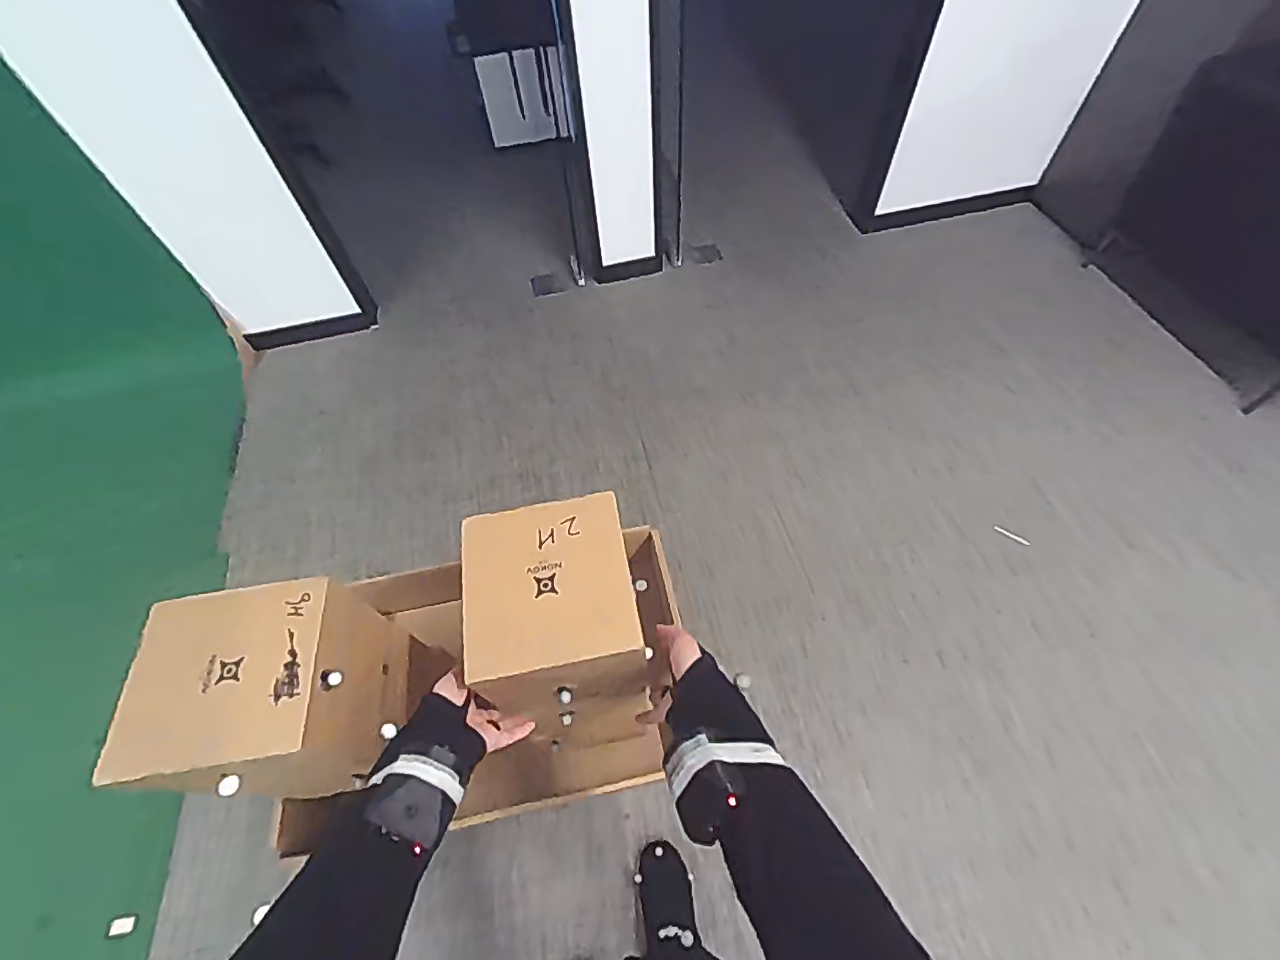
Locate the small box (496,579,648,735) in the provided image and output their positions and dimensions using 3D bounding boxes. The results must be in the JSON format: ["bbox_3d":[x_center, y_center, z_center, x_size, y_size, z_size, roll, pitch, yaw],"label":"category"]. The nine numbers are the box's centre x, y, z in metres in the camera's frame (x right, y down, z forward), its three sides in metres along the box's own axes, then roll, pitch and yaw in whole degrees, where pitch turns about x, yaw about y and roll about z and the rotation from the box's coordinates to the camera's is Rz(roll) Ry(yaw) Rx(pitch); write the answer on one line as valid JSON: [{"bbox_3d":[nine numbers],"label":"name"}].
[{"bbox_3d":[-0.087,0.237,0.736,0.179,0.176,0.168,-8,57,-3],"label":"small box"}]

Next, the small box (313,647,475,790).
[{"bbox_3d":[-0.374,0.382,0.856,0.179,0.176,0.168,-9,58,-3],"label":"small box"}]

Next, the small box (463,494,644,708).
[{"bbox_3d":[-0.090,0.142,0.601,0.168,0.176,0.179,-9,57,-4],"label":"small box"}]

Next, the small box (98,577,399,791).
[{"bbox_3d":[-0.384,0.221,0.572,0.179,0.176,0.168,-9,58,-2],"label":"small box"}]
